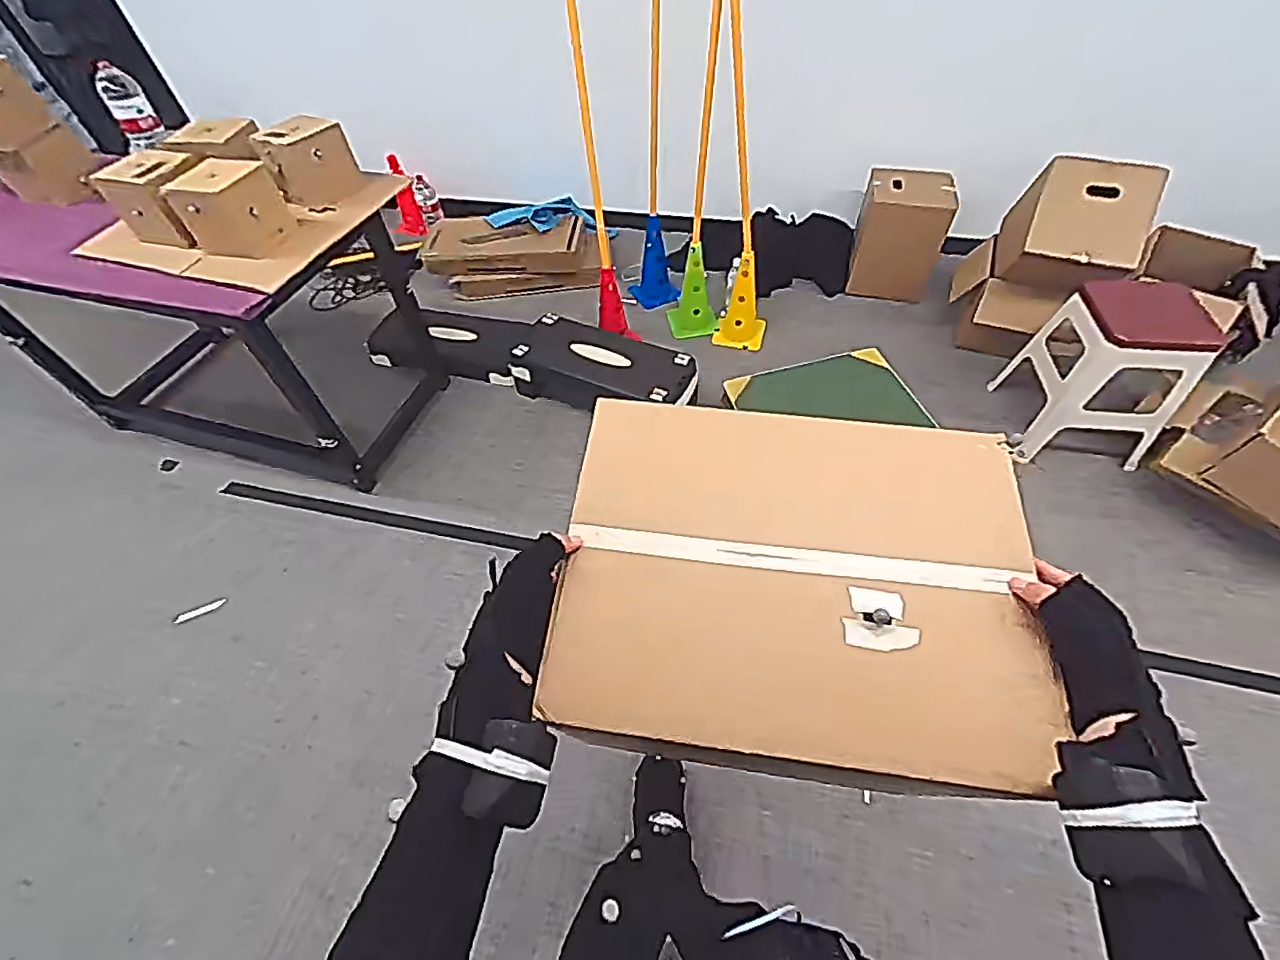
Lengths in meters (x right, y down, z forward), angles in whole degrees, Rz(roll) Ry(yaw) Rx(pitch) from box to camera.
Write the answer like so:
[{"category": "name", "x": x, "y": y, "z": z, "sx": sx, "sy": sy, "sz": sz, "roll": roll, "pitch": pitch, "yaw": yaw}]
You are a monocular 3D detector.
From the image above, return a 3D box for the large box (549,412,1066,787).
[{"category": "large box", "x": 0.141, "y": 0.149, "z": 0.616, "sx": 0.408, "sy": 0.320, "sz": 0.320, "roll": 6, "pitch": 62, "yaw": 5}]
